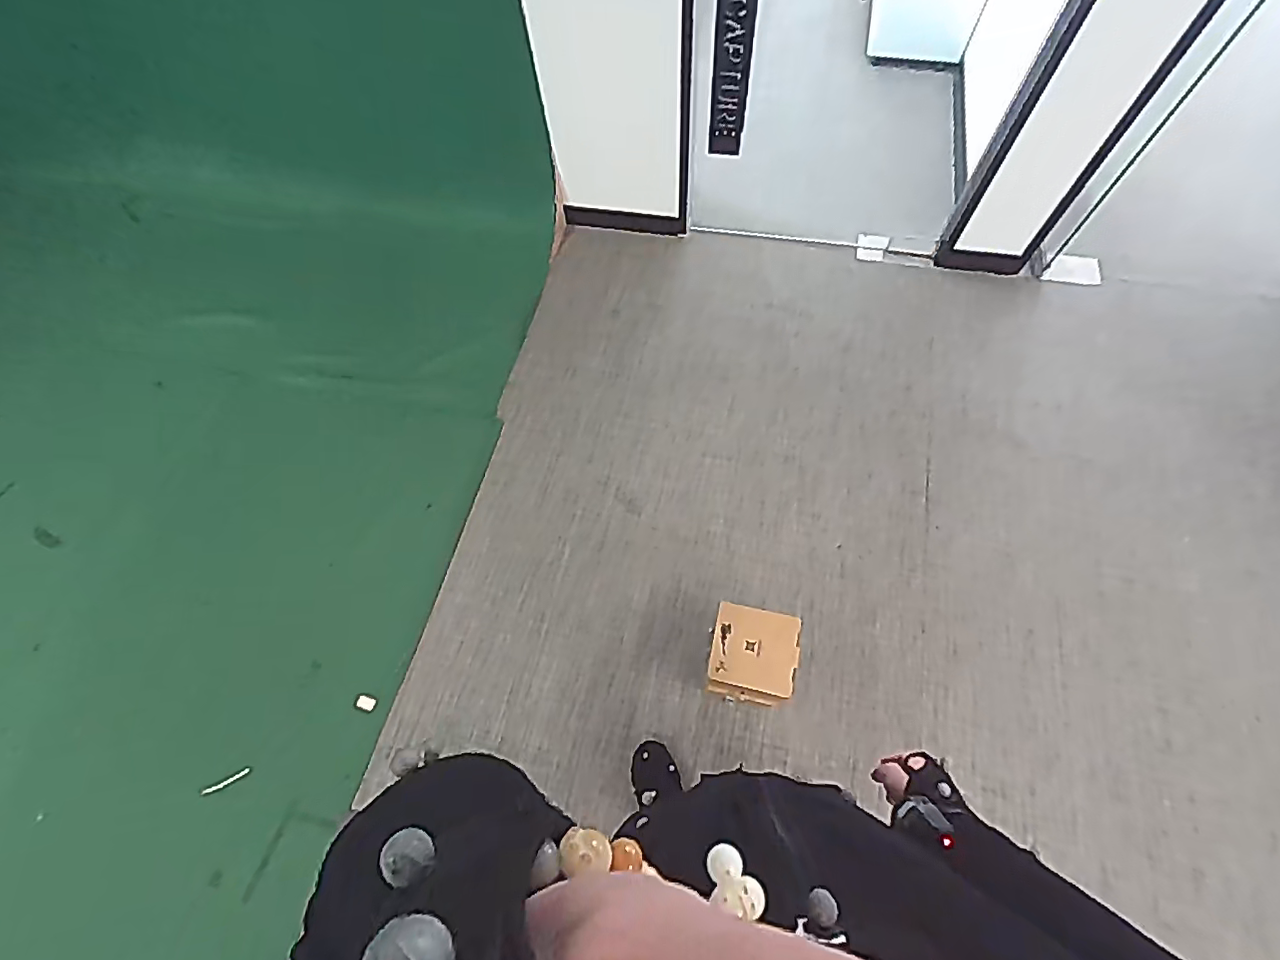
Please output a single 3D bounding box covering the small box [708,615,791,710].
[{"bbox_3d":[0.265,0.454,1.338,0.168,0.176,0.179,12,67,11],"label":"small box"}]
